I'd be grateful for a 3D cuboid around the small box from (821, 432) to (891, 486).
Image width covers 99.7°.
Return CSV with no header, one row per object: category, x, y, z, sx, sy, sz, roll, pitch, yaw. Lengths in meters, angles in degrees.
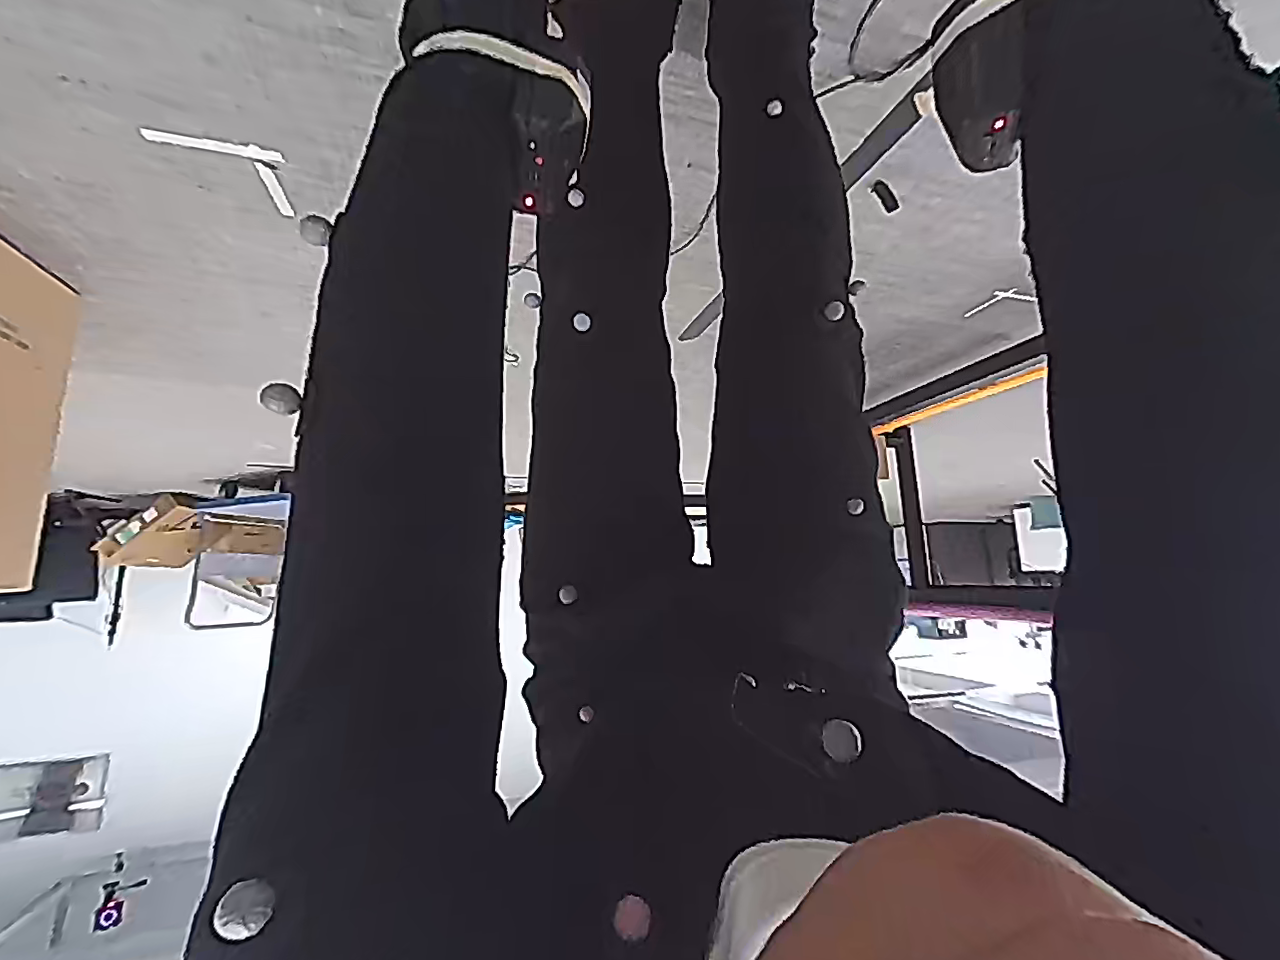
small box,0.797,-0.077,2.014,0.179,0.176,0.168,2,168,-19
